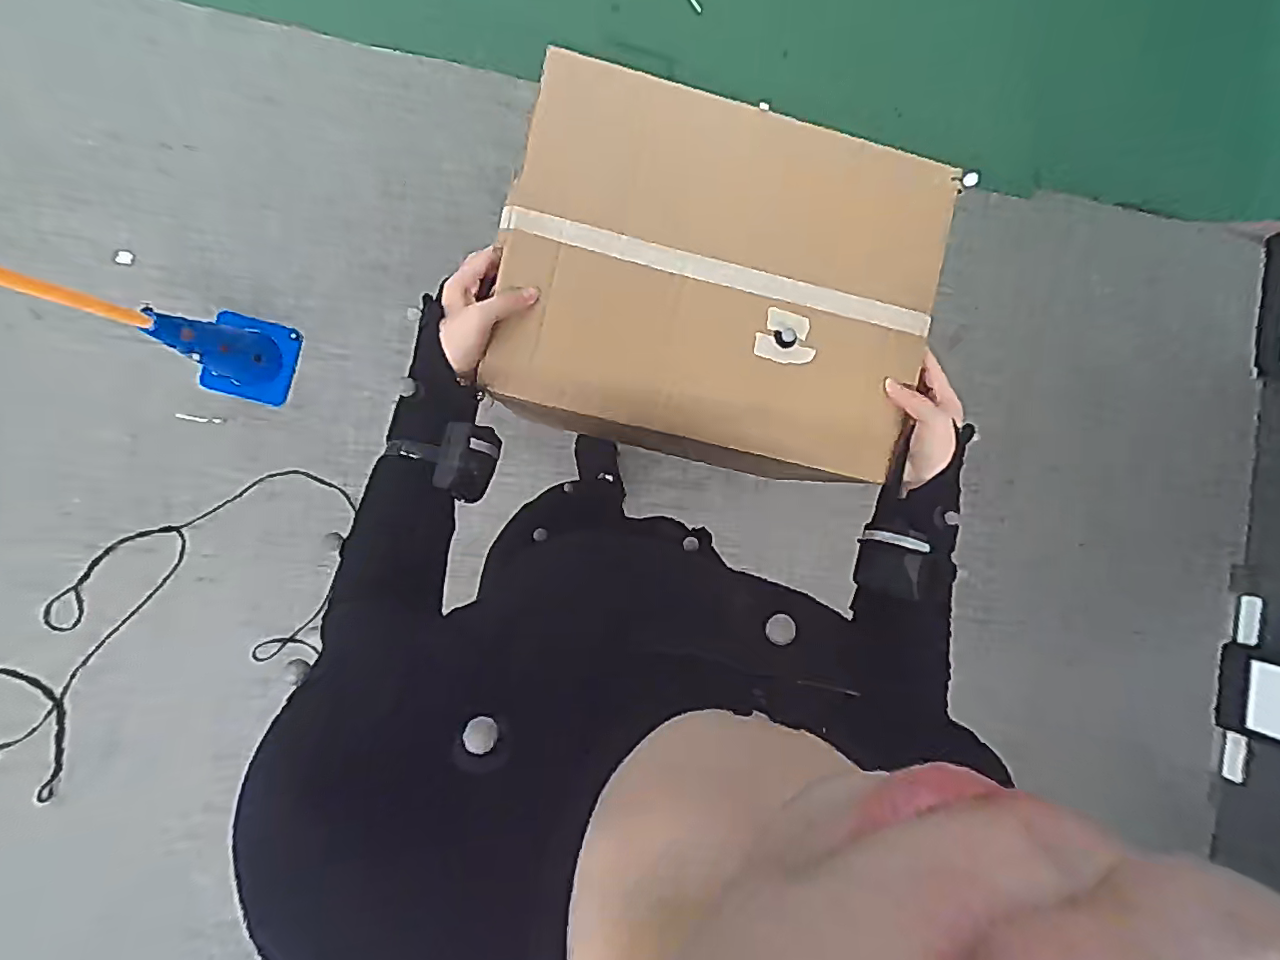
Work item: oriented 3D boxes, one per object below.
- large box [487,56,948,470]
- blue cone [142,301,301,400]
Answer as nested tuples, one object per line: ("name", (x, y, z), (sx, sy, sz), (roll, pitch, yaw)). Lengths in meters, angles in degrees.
("large box", (0.065, -0.201, 0.656), (0.408, 0.320, 0.320), (12, 90, -6))
("blue cone", (-0.931, -0.304, 1.178), (0.193, 0.380, 0.192), (16, 87, -9))
